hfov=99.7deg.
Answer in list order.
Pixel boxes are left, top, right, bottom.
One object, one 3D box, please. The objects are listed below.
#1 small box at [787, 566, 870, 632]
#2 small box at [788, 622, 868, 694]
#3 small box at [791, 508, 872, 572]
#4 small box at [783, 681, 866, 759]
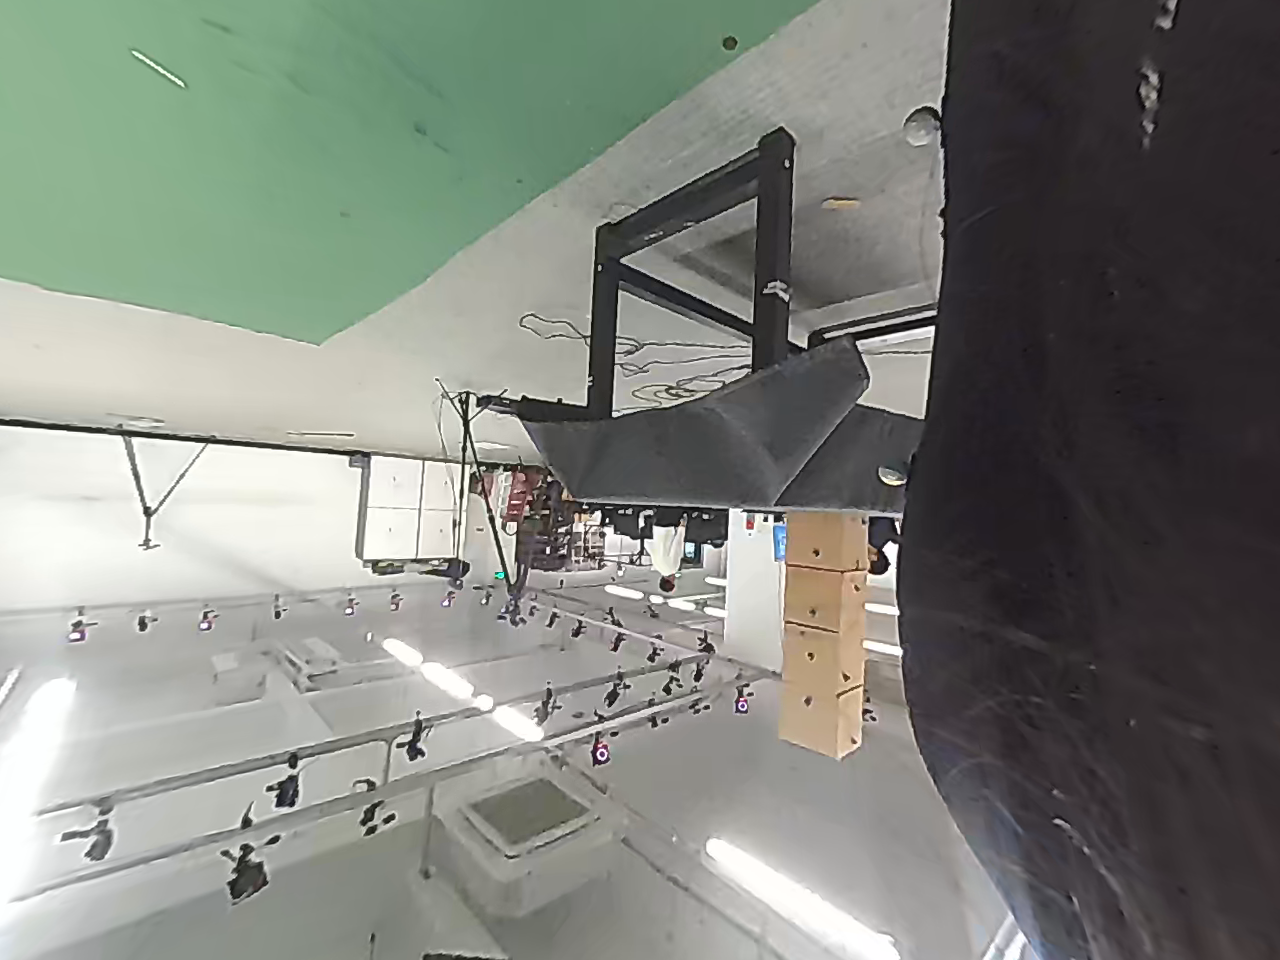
[{"bbox_3d":[0.549,0.332,1.566,0.168,0.176,0.179,6,175,-43],"label":"small box"},{"bbox_3d":[0.541,0.496,1.553,0.179,0.176,0.168,7,175,-45],"label":"small box"},{"bbox_3d":[0.558,0.170,1.576,0.168,0.176,0.179,6,176,-43],"label":"small box"},{"bbox_3d":[0.529,0.659,1.540,0.179,0.176,0.168,0,175,44],"label":"small box"}]
